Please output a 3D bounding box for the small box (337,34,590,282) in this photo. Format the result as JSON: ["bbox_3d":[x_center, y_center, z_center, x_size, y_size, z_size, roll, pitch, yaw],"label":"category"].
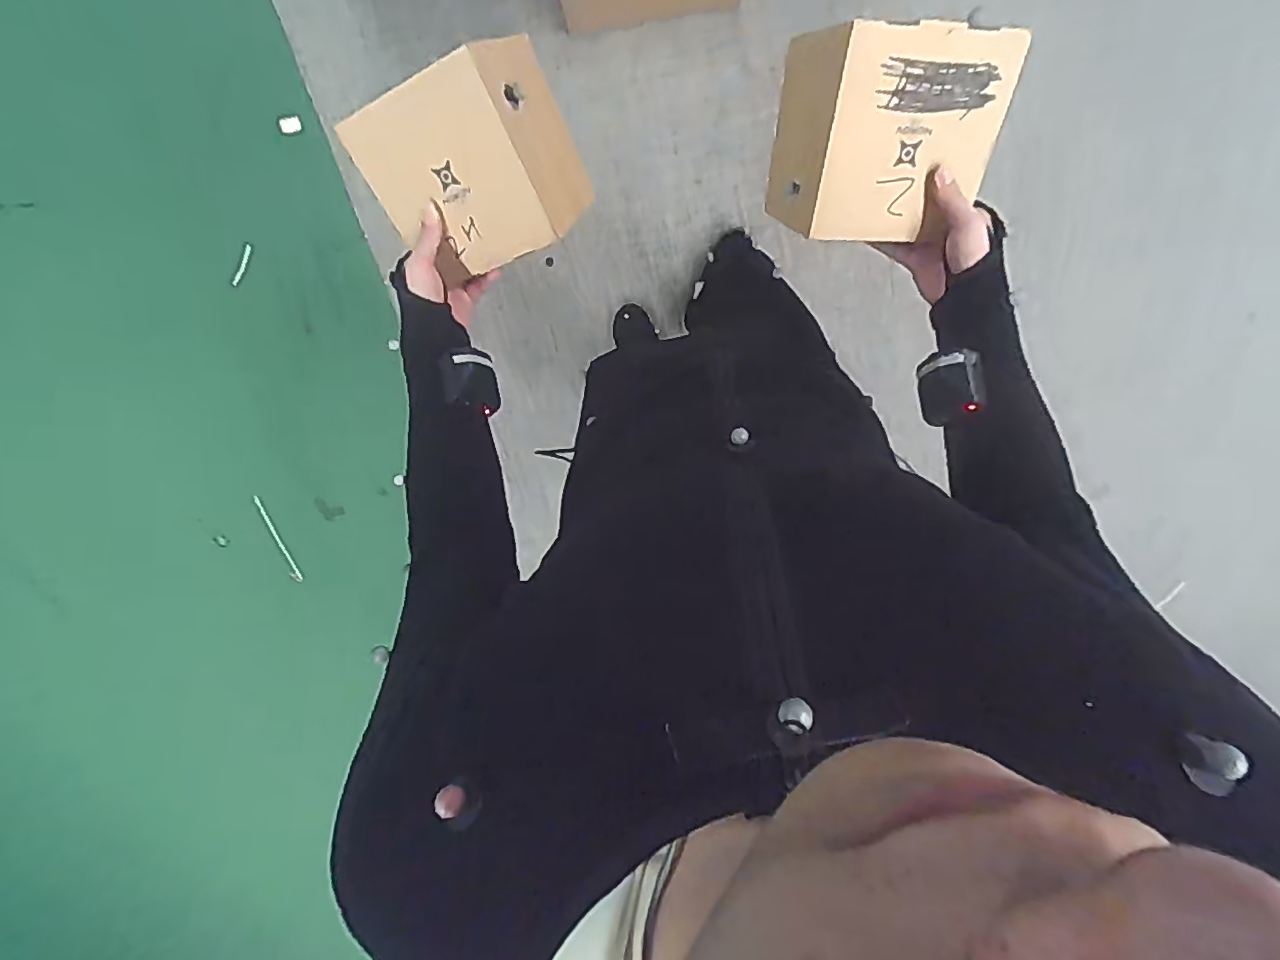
[{"bbox_3d":[-0.176,-0.354,0.599,0.168,0.176,0.179,-11,127,22],"label":"small box"}]
